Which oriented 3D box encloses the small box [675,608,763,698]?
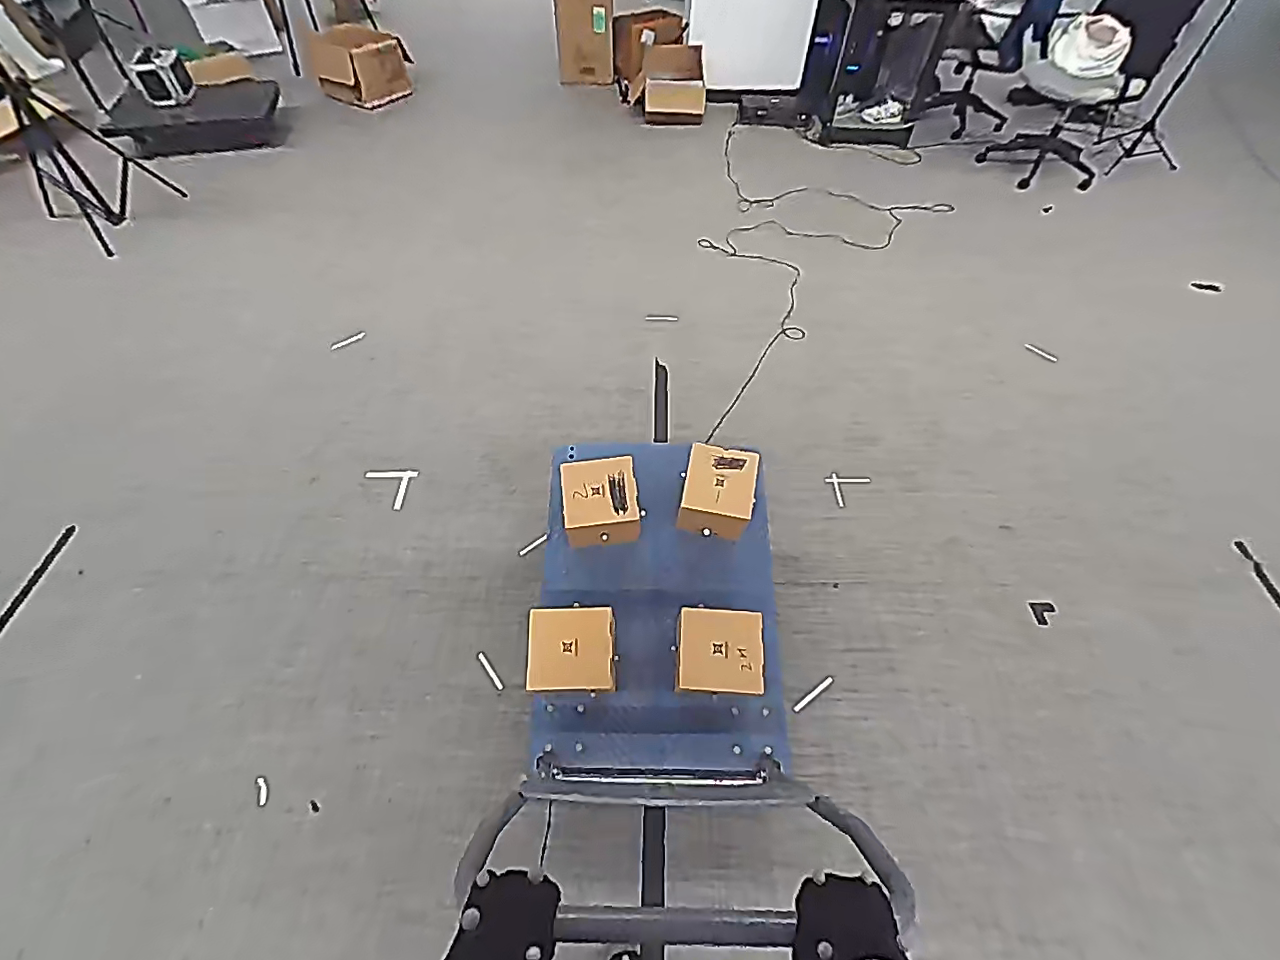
[{"bbox_3d":[0.170,0.387,1.196,0.179,0.176,0.168,4,67,1],"label":"small box"}]

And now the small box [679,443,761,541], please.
[{"bbox_3d":[0.194,0.035,1.352,0.168,0.176,0.179,11,68,5],"label":"small box"}]

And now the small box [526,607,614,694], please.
[{"bbox_3d":[-0.147,0.381,1.197,0.179,0.176,0.168,0,66,-2],"label":"small box"}]
